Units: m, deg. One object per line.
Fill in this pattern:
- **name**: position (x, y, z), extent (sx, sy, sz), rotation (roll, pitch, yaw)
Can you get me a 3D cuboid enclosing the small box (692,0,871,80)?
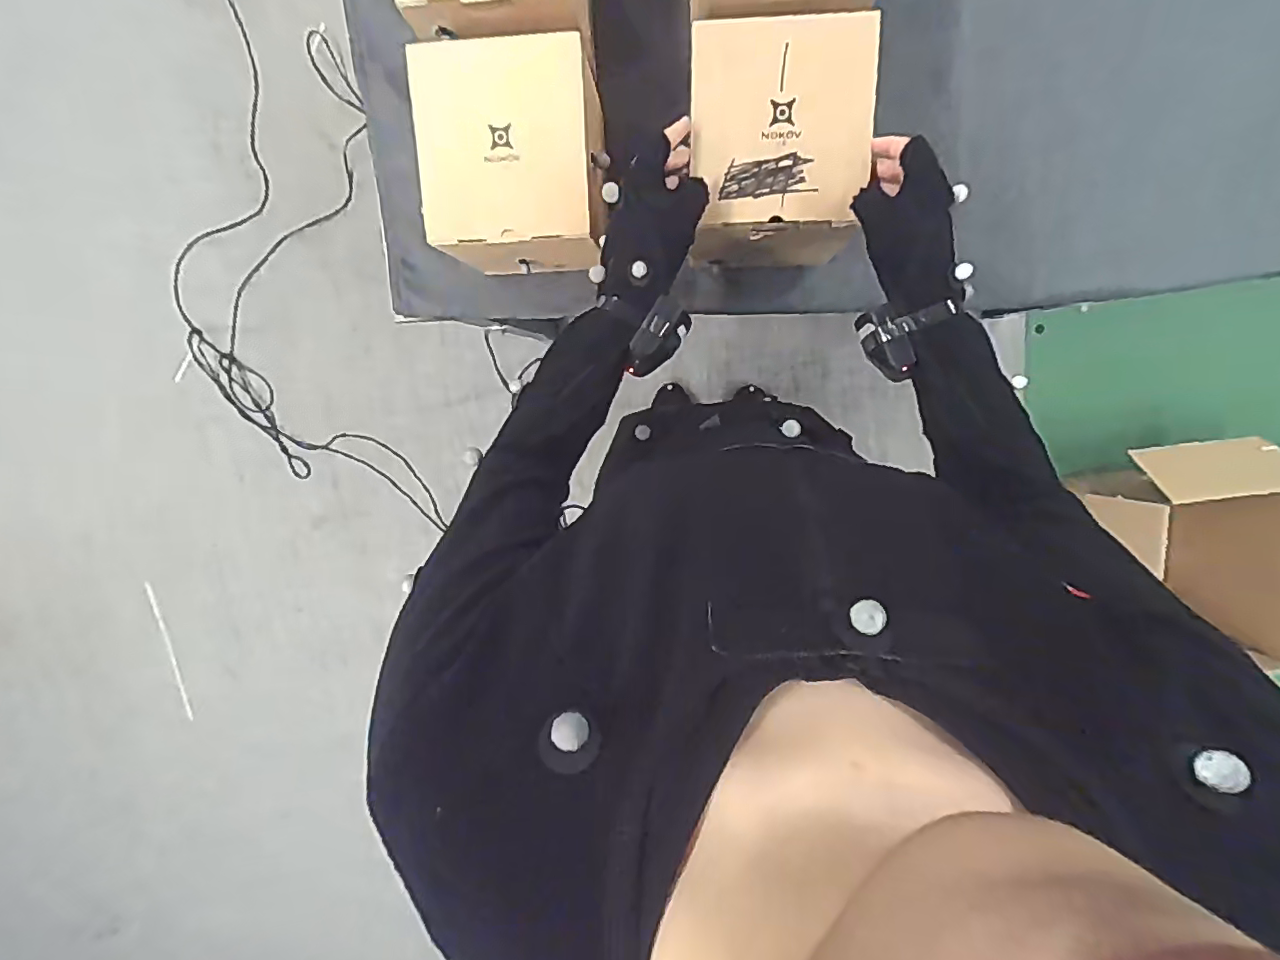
- **small box**: position (0.137, -0.540, 0.535), extent (0.168, 0.176, 0.179), rotation (-1, 101, 4)
